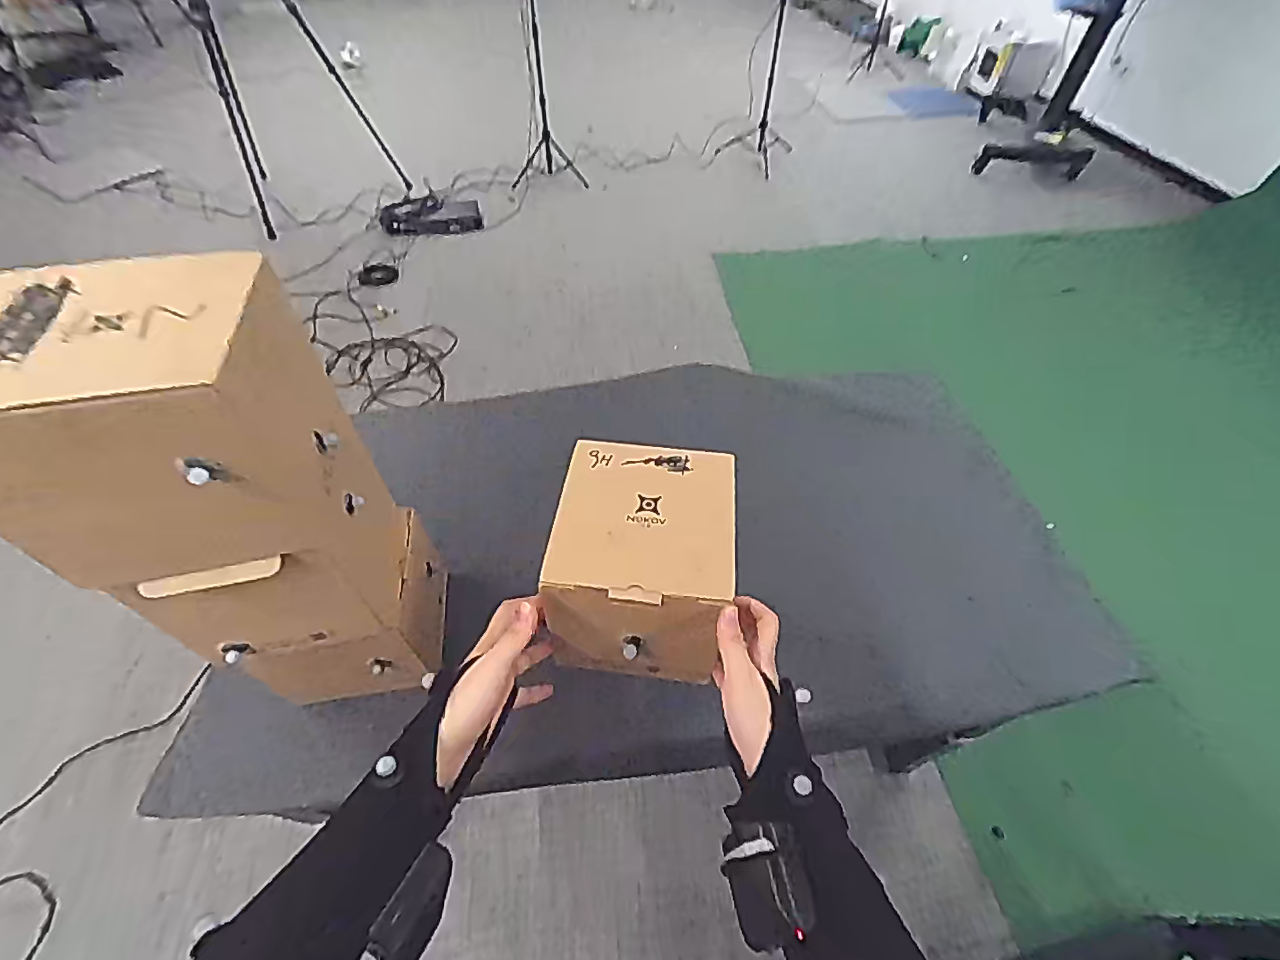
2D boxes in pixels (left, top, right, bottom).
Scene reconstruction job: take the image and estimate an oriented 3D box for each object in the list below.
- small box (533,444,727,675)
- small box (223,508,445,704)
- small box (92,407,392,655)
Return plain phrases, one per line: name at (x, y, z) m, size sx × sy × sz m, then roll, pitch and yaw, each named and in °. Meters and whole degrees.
small box at (0.000, 0.086, 0.564) m, size 0.168 × 0.176 × 0.179 m, roll 5°, pitch 49°, yaw 4°
small box at (-0.353, 0.158, 0.669) m, size 0.179 × 0.176 × 0.168 m, roll -8°, pitch 50°, yaw -6°
small box at (-0.362, 0.057, 0.539) m, size 0.168 × 0.176 × 0.179 m, roll -11°, pitch 50°, yaw -9°
